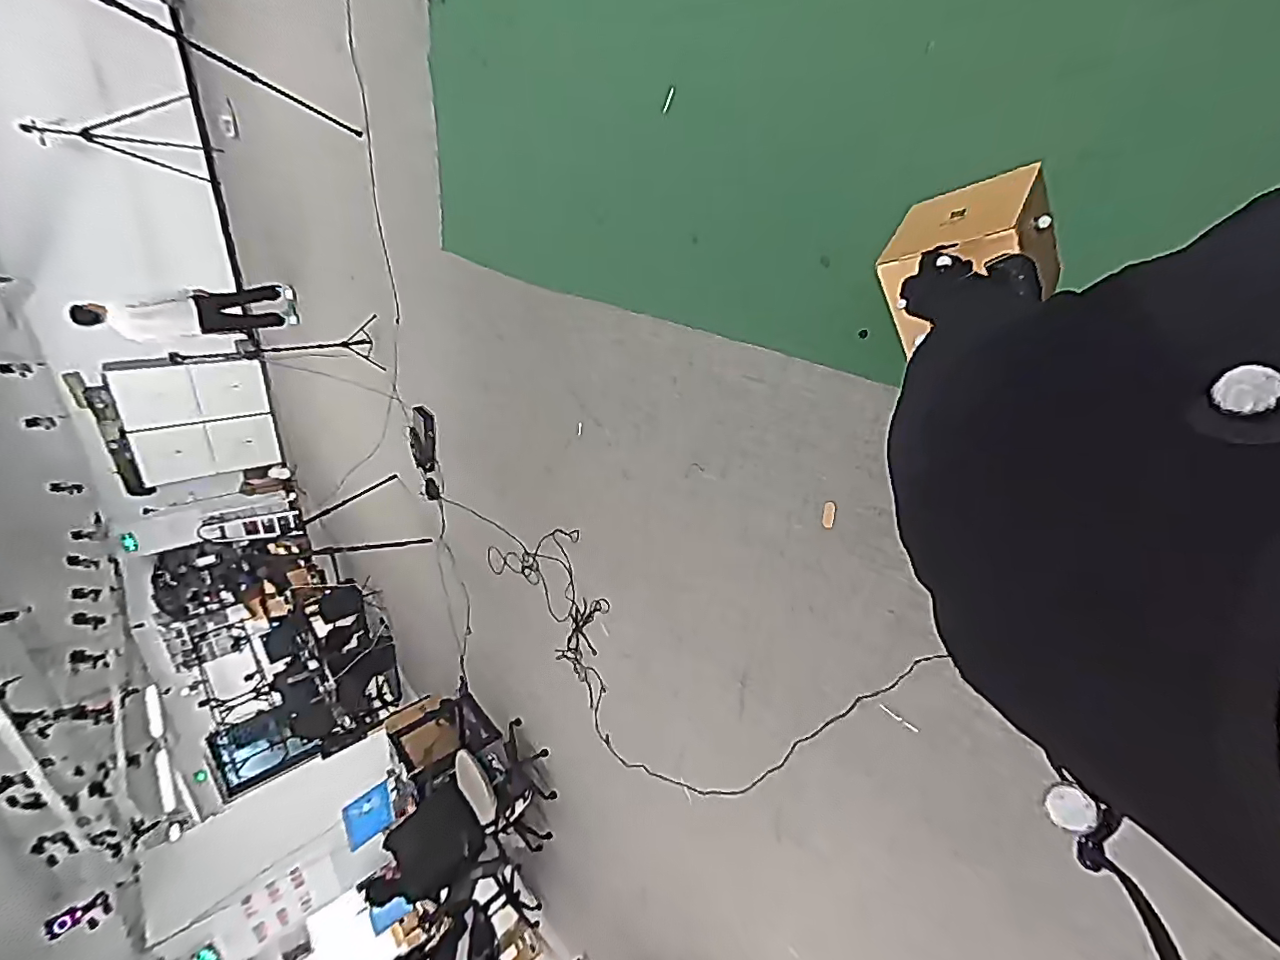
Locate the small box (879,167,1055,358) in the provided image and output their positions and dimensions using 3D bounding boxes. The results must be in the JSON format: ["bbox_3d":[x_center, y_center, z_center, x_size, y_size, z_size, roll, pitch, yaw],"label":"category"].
[{"bbox_3d":[0.475,-0.301,0.777,0.168,0.179,0.176,1,137,48],"label":"small box"}]
